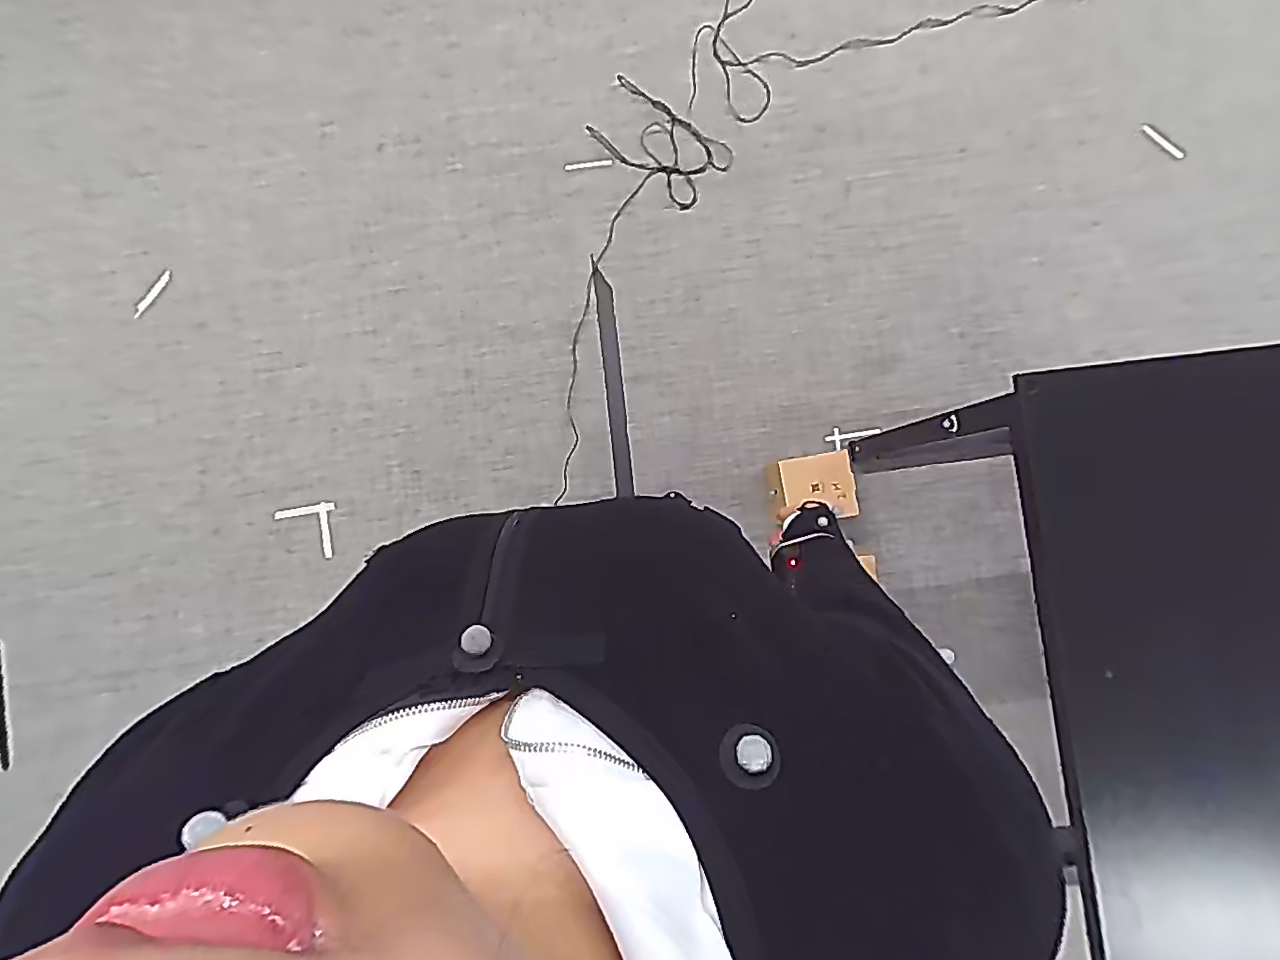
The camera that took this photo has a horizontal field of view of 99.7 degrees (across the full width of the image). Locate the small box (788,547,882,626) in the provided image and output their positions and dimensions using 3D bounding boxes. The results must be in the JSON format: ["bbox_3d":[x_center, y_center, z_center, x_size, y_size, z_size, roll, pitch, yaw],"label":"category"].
[{"bbox_3d":[0.500,0.270,1.405,0.179,0.176,0.168,-8,87,3],"label":"small box"}]
